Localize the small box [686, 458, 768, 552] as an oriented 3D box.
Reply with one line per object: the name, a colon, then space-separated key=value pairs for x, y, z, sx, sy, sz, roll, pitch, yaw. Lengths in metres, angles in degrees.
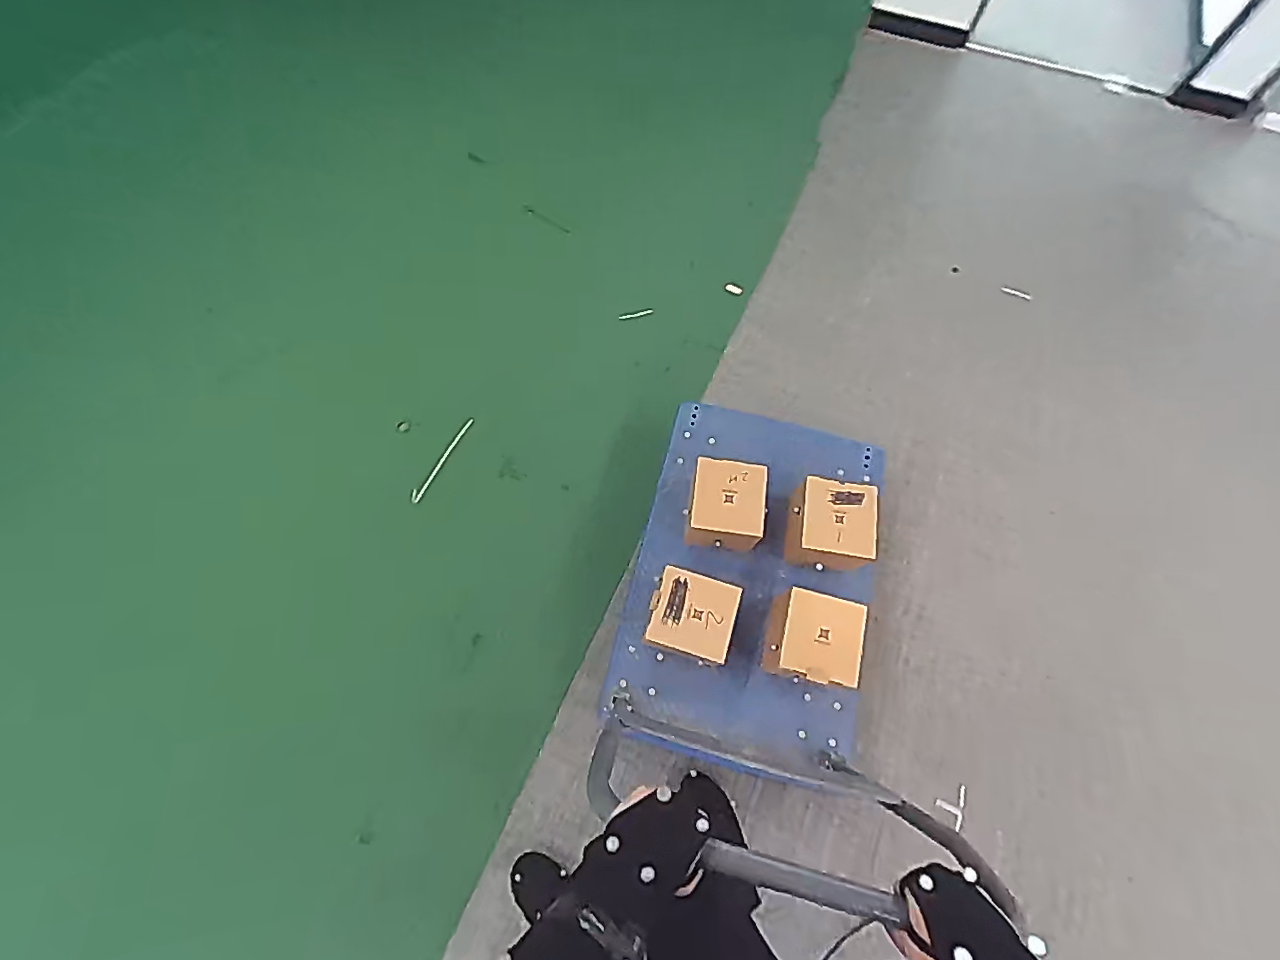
small box: x=0.207 y=0.067 z=1.317 sx=0.168 sy=0.176 sz=0.179 roll=9 pitch=70 yaw=2

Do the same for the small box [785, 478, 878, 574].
small box: x=0.455 y=0.116 z=1.303 sx=0.168 sy=0.176 sz=0.179 roll=10 pitch=71 yaw=3

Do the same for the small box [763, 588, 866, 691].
small box: x=0.385 y=0.360 z=1.215 sx=0.168 sy=0.176 sz=0.179 roll=15 pitch=71 yaw=5
